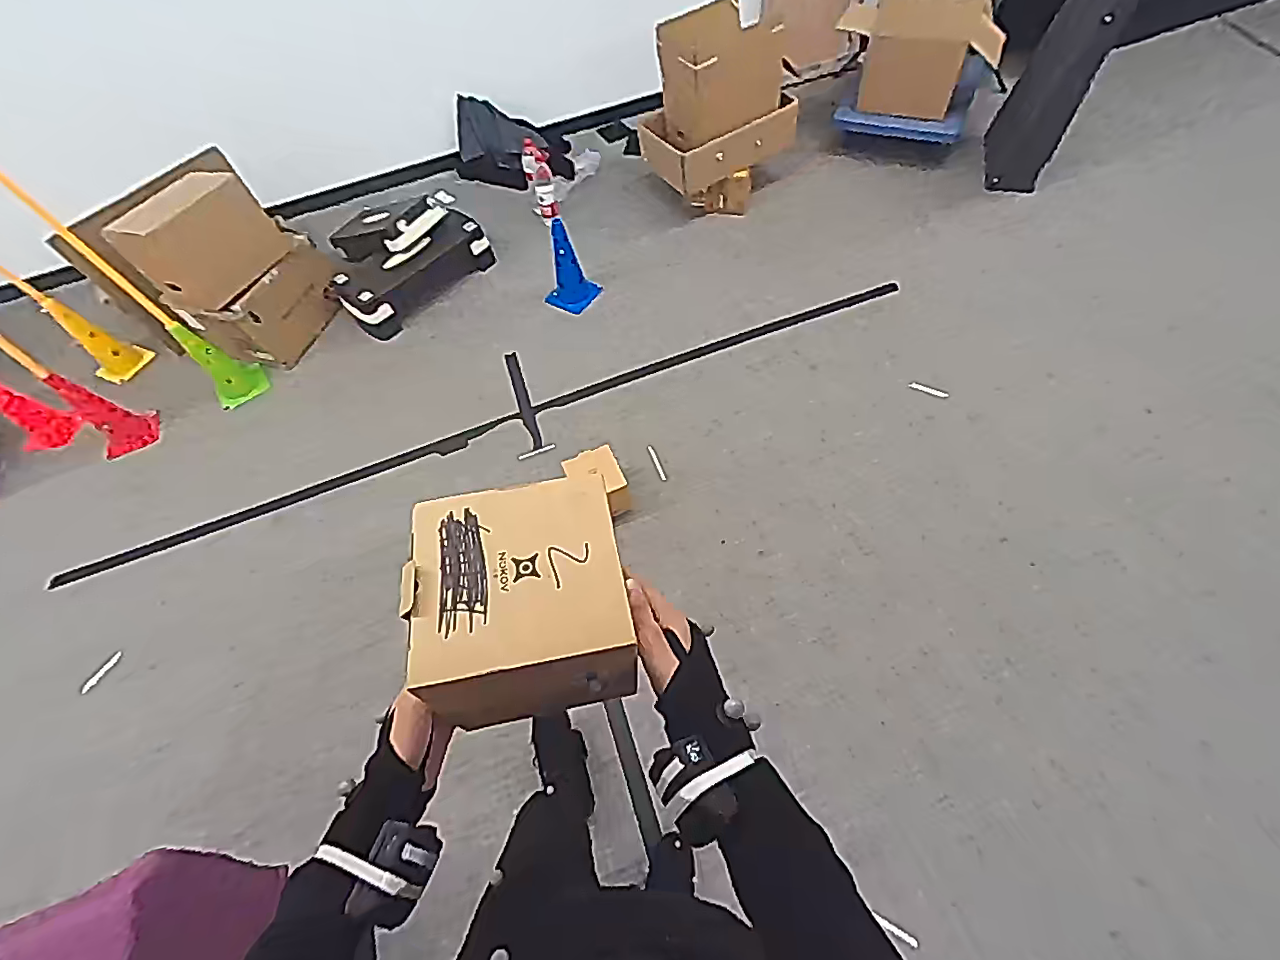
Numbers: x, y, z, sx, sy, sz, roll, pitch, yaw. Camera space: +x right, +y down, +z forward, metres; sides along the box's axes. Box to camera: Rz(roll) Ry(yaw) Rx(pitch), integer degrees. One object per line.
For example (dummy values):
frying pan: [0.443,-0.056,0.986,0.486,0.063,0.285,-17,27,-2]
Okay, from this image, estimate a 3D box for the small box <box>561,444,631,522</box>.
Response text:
small box: [-0.139,0.018,1.771,0.168,0.176,0.179,-23,59,-8]
